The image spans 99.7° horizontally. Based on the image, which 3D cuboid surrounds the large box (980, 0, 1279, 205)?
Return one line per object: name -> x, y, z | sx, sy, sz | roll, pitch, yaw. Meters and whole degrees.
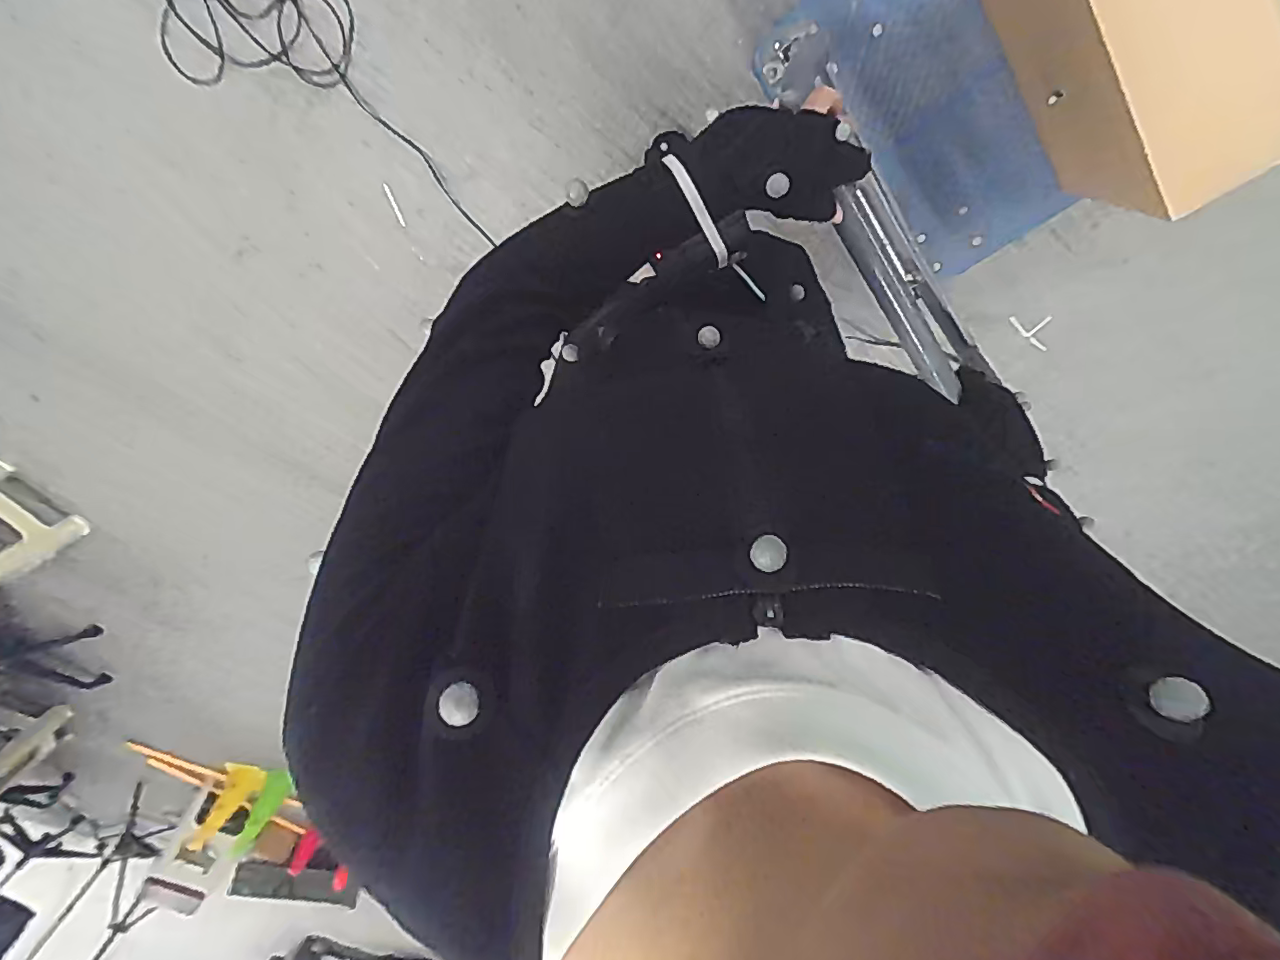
large box -> 0.742, -0.672, 0.743 | 0.320, 0.320, 0.408 | -34, 113, 29
